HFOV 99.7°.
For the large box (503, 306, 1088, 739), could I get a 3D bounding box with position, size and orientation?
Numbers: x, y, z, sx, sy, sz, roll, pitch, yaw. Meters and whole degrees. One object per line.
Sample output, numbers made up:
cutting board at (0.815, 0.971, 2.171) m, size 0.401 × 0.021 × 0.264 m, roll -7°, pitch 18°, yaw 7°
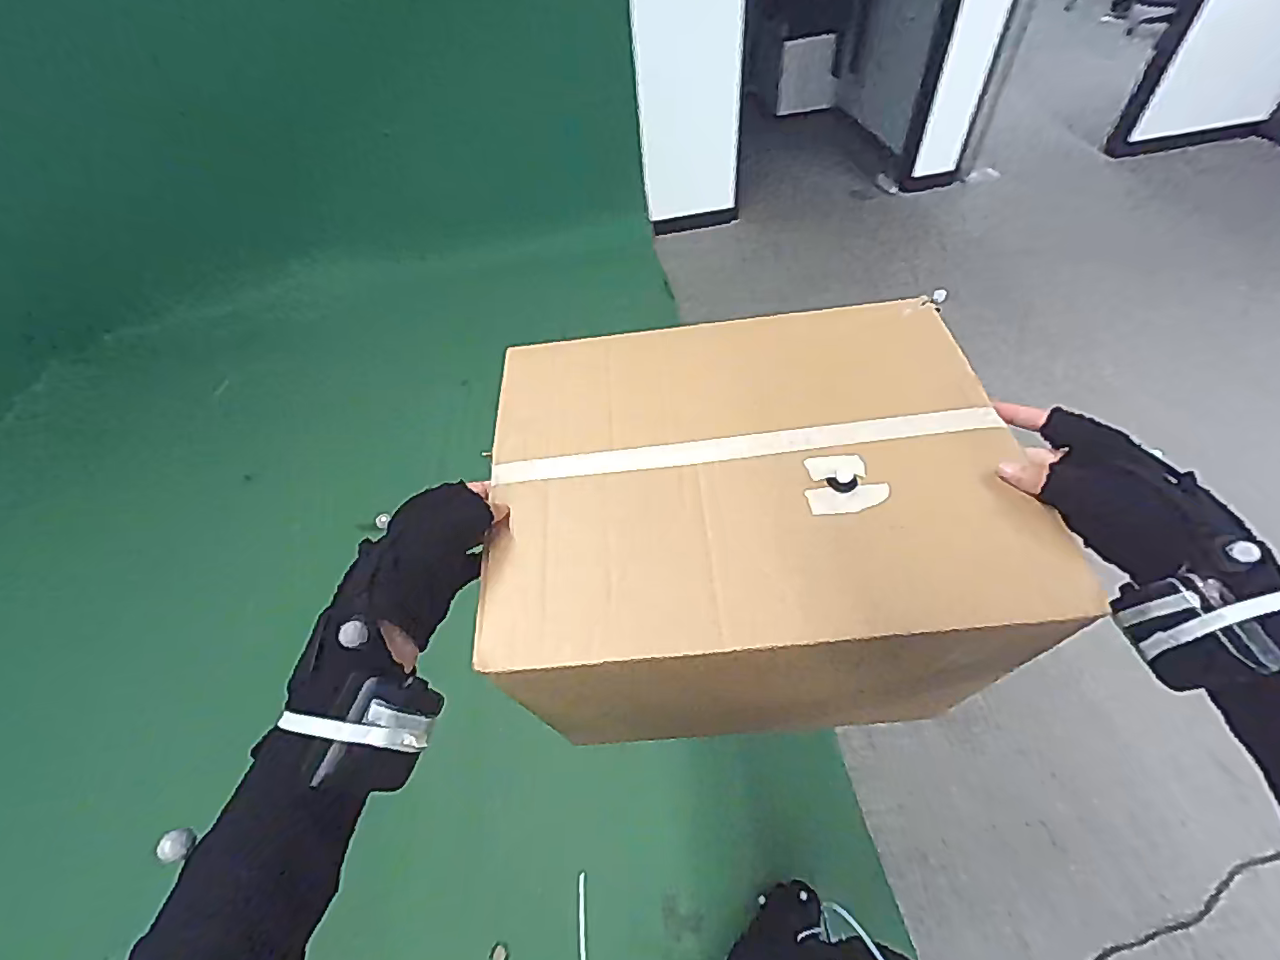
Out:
large box at (0.105, 0.063, 0.568) m, size 0.408 × 0.320 × 0.320 m, roll -6°, pitch 56°, yaw 4°
